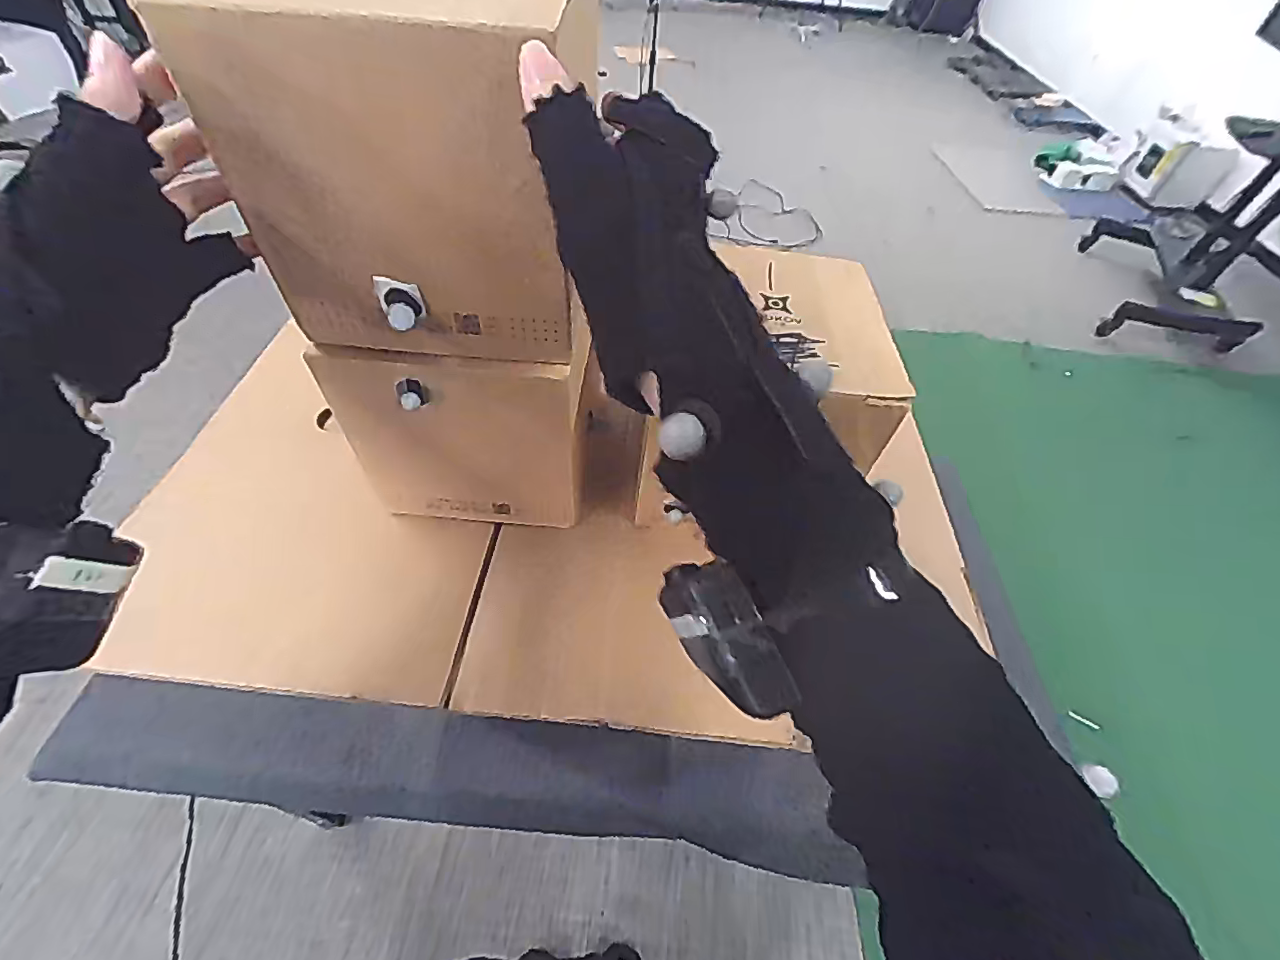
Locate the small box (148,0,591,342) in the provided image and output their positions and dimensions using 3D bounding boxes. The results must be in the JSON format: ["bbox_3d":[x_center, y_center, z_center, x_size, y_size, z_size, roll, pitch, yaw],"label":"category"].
[{"bbox_3d":[-0.117,-0.206,0.315,0.168,0.176,0.179,3,53,-1],"label":"small box"}]

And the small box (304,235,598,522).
[{"bbox_3d":[-0.127,-0.089,0.449,0.168,0.176,0.179,4,51,1],"label":"small box"}]
